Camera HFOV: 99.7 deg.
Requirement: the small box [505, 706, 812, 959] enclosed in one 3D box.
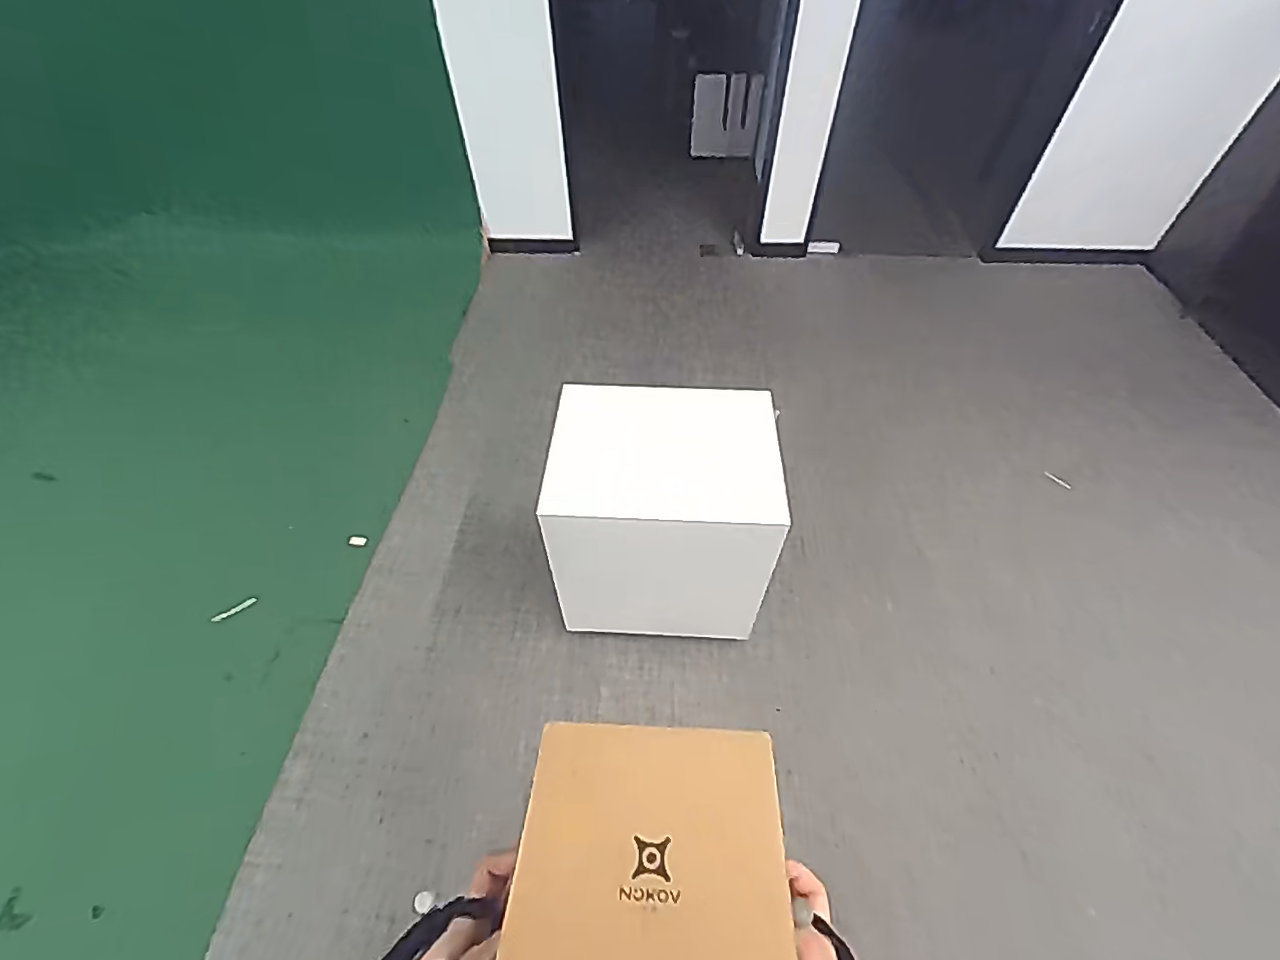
[{"bbox_3d":[0.014,0.286,0.377,0.168,0.176,0.179,0,38,3],"label":"small box"}]
